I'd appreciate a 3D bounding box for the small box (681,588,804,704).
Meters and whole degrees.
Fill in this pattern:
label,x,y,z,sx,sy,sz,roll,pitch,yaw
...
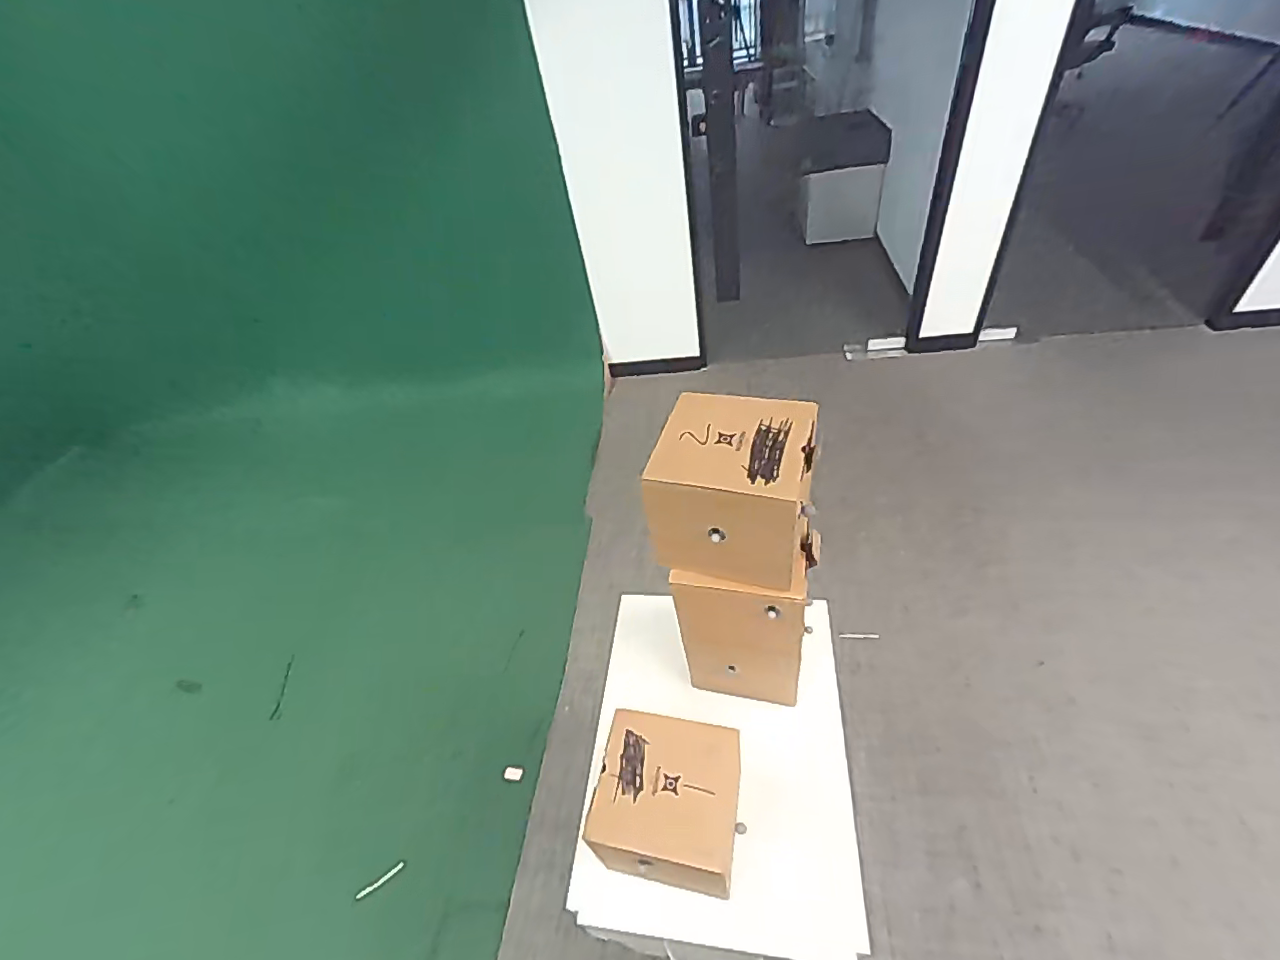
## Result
label,x,y,z,sx,sy,sz,roll,pitch,yaw
small box,0.177,0.252,0.905,0.179,0.176,0.168,5,46,17

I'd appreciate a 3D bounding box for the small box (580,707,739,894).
label,x,y,z,sx,sy,sz,roll,pitch,yaw
small box,0.039,0.440,0.743,0.179,0.176,0.168,5,46,15

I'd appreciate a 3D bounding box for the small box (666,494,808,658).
label,x,y,z,sx,sy,sz,roll,pitch,yaw
small box,0.149,0.141,0.791,0.179,0.176,0.168,4,47,16
